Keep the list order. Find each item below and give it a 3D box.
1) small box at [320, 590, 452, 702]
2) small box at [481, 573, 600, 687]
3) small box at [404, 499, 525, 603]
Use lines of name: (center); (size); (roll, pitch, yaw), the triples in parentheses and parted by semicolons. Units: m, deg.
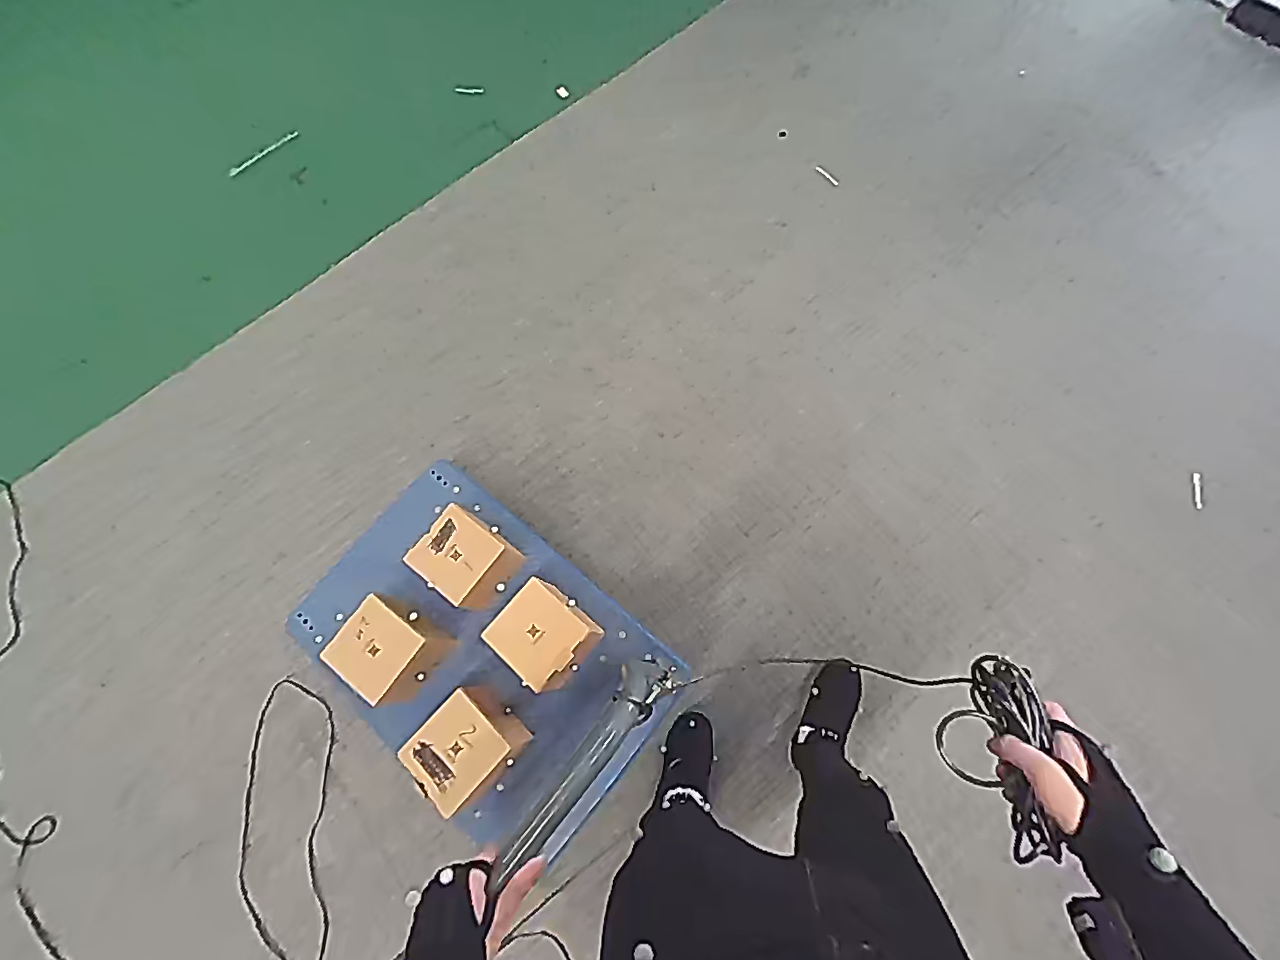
small box: (-0.562, 0.371, 1.223); (0.179, 0.176, 0.168); (34, 78, 15)
small box: (-0.211, 0.334, 1.200); (0.179, 0.176, 0.168); (39, 80, 15)
small box: (-0.403, 0.175, 1.268); (0.179, 0.176, 0.168); (36, 80, 14)
